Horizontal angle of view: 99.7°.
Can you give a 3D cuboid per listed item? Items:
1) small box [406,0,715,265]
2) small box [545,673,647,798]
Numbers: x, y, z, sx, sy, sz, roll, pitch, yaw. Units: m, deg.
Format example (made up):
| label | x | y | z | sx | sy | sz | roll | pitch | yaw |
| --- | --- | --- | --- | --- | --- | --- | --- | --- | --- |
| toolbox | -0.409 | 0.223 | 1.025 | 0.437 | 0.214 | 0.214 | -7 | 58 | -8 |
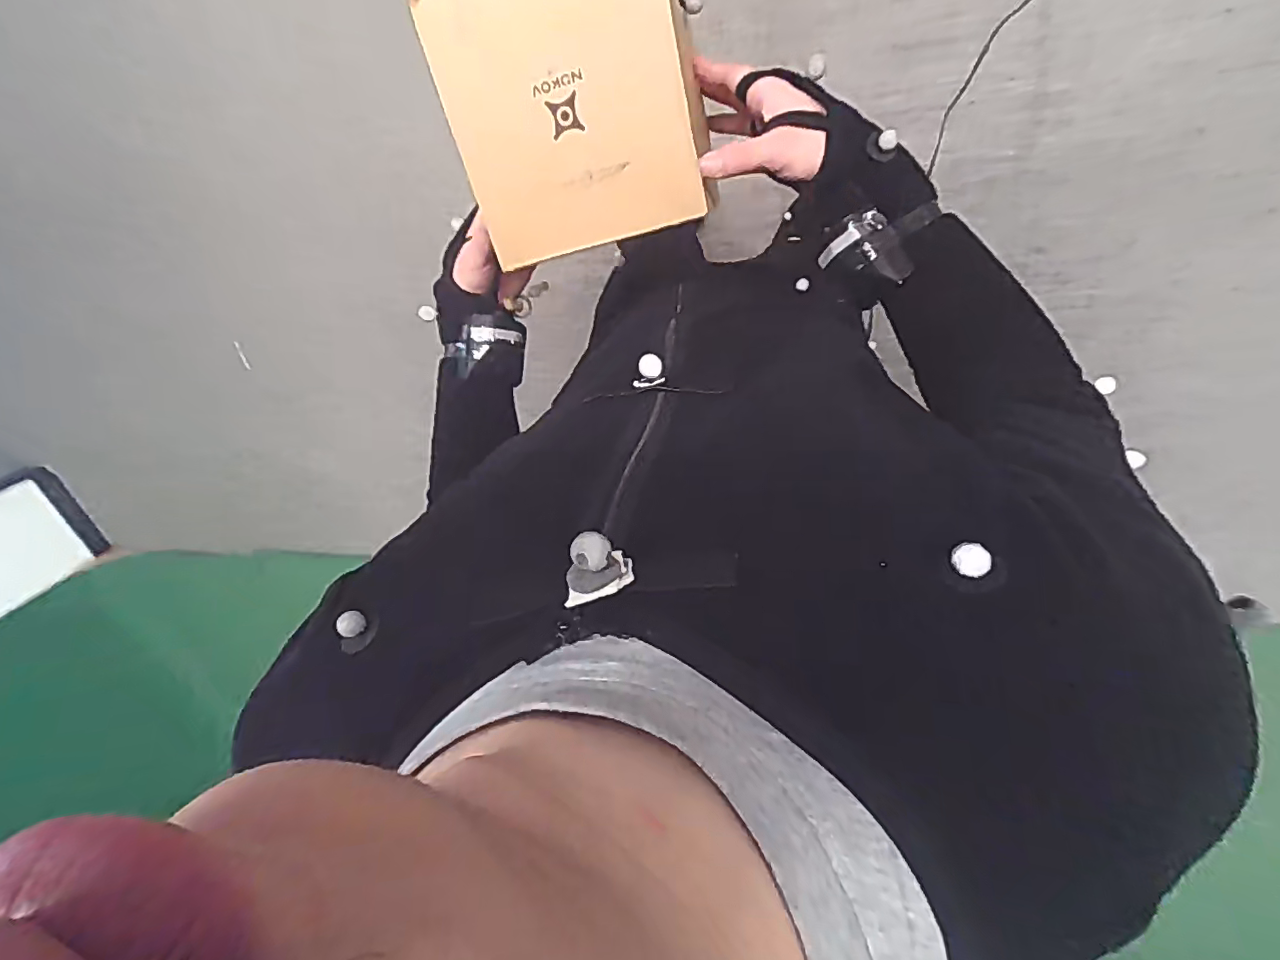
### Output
| label | x | y | z | sx | sy | sz | roll | pitch | yaw |
| --- | --- | --- | --- | --- | --- | --- | --- | --- | --- |
| small box | -0.039 | -0.289 | 0.427 | 0.168 | 0.176 | 0.179 | -7 | 119 | 17 |
| small box | -0.086 | 0.538 | 1.155 | 0.168 | 0.176 | 0.179 | 2 | 123 | 14 |
